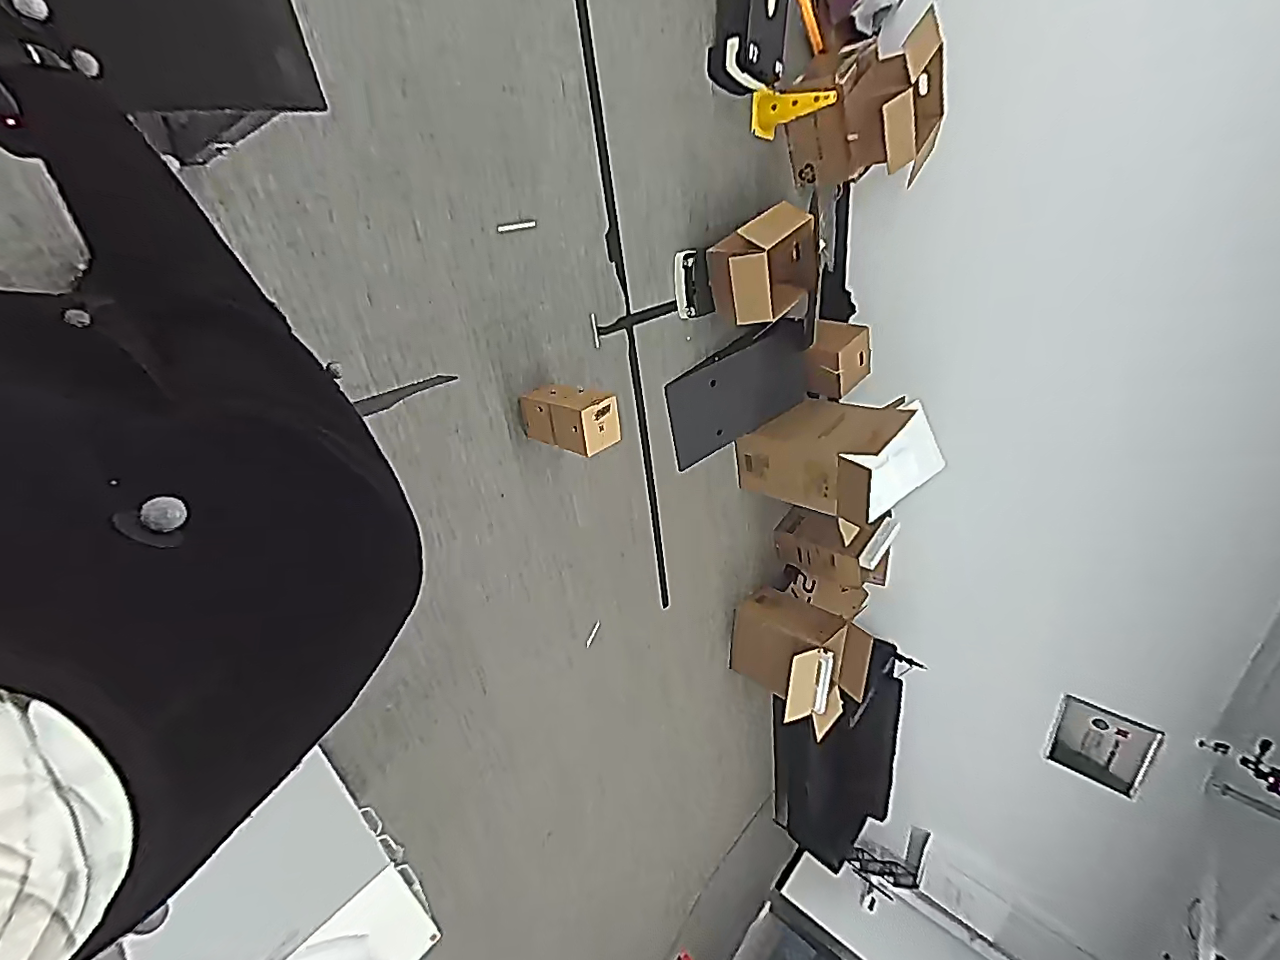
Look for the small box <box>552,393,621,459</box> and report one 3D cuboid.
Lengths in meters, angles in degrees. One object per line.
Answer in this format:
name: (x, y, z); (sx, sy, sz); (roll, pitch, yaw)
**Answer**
small box: (-0.191, -0.199, 1.903); (0.168, 0.176, 0.179); (-32, 128, -38)
